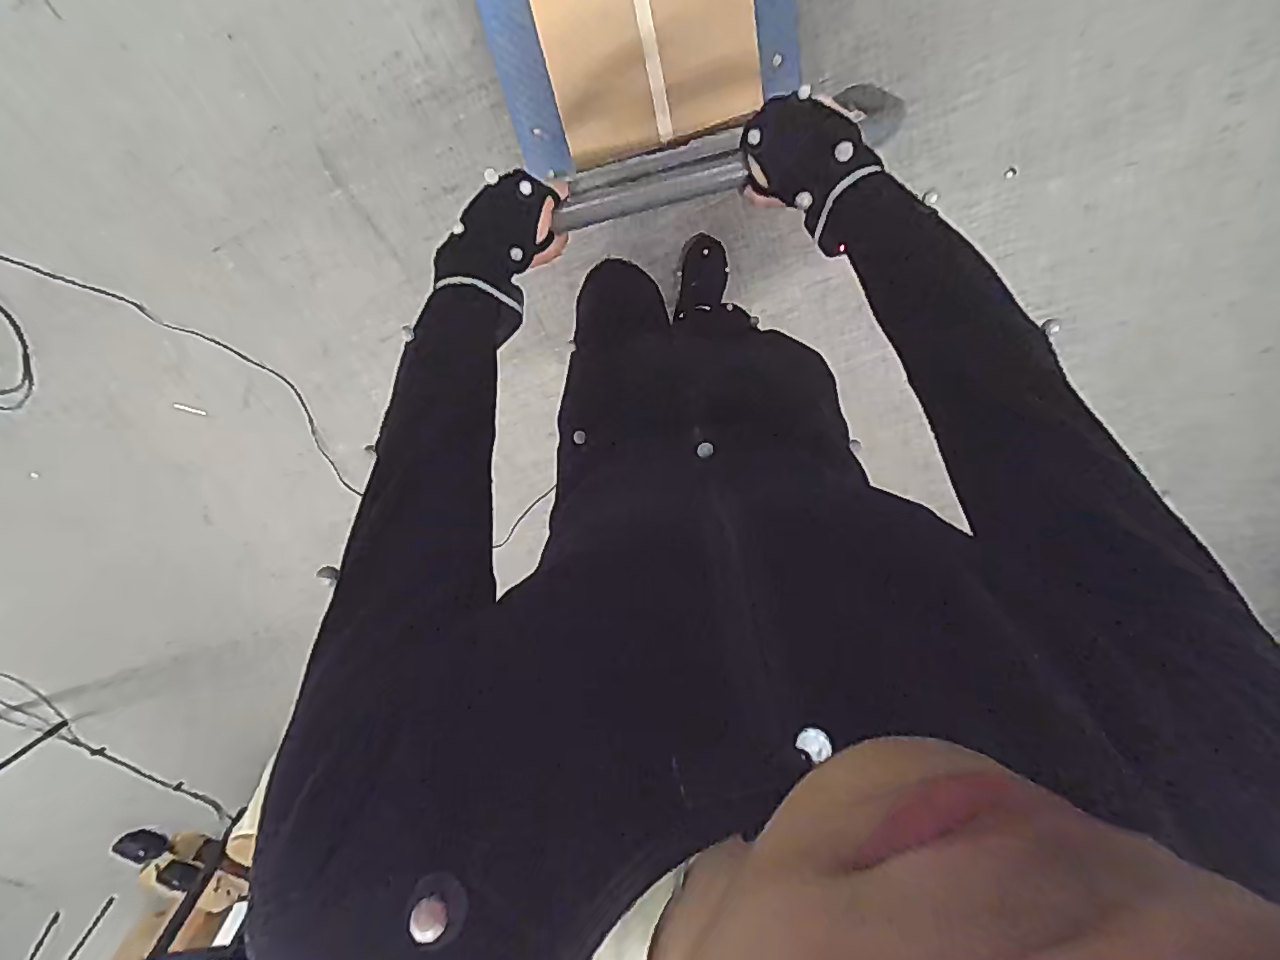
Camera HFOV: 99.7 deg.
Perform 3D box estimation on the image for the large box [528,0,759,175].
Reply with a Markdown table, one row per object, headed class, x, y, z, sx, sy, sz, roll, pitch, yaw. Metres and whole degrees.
| class | x | y | z | sx | sy | sz | roll | pitch | yaw |
| --- | --- | --- | --- | --- | --- | --- | --- | --- | --- |
| large box | 0.003 | -0.779 | 0.908 | 0.320 | 0.320 | 0.408 | -10 | 120 | 10 |
